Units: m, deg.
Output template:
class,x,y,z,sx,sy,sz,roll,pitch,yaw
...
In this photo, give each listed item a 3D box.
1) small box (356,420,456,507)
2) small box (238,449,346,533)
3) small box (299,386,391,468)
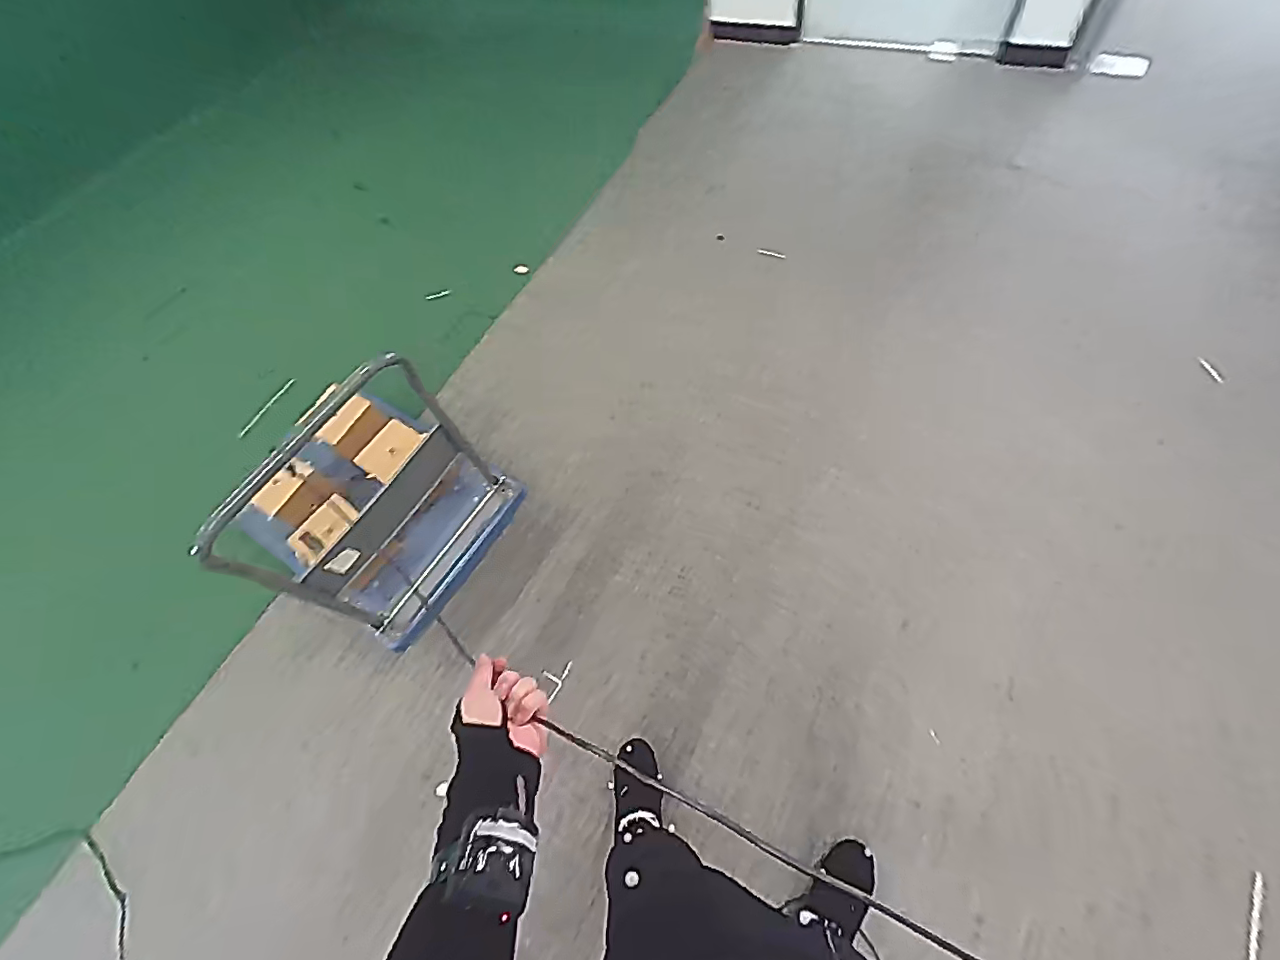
class,x,y,z,sx,sy,sz,roll,pitch,yaw
small box,-0.688,-0.043,1.606,0.179,0.176,0.168,29,72,21
small box,-1.033,0.042,1.622,0.179,0.176,0.168,24,69,20
small box,-0.910,-0.163,1.703,0.179,0.176,0.168,25,71,19
